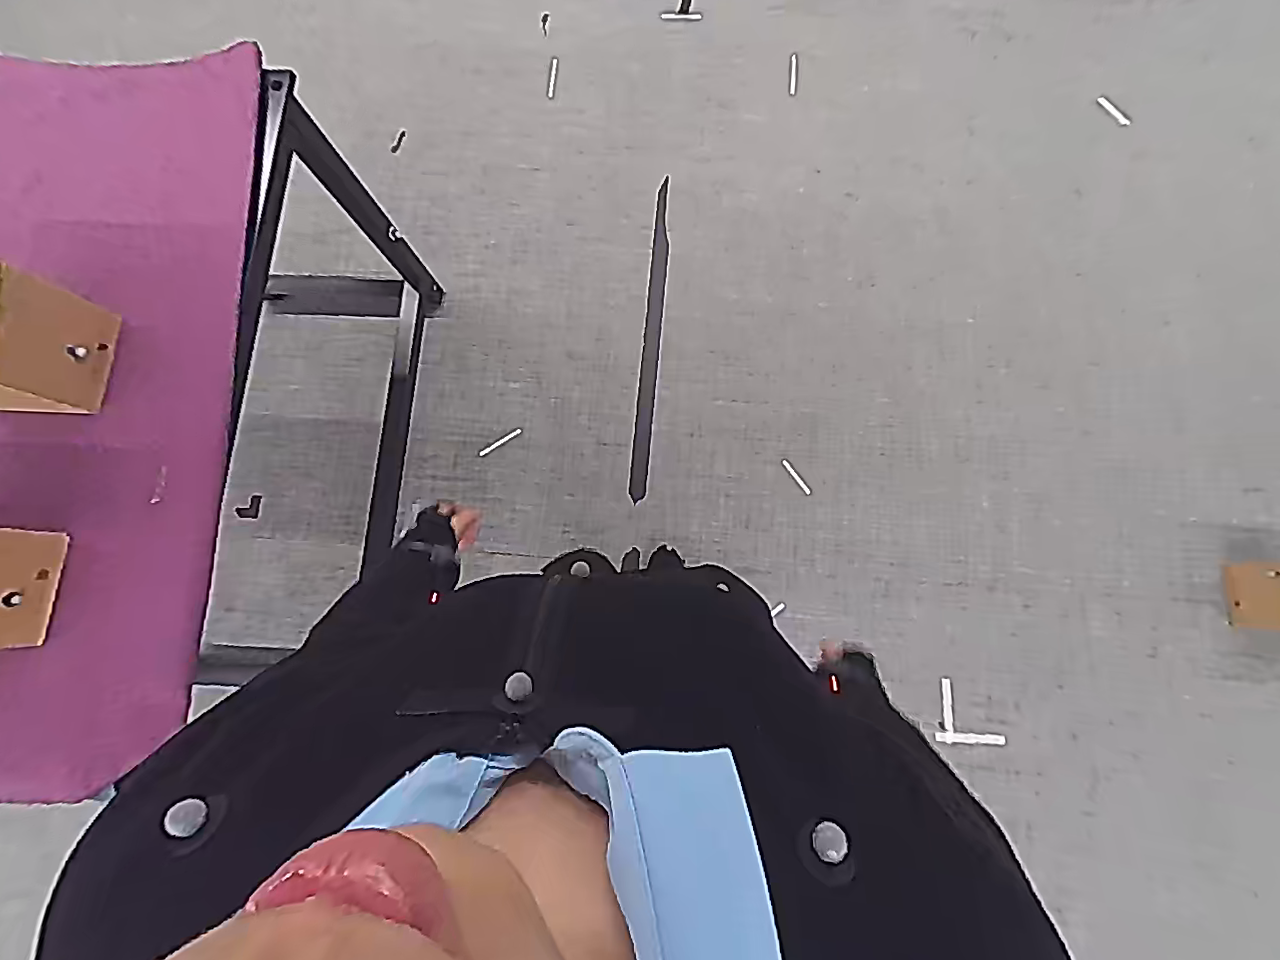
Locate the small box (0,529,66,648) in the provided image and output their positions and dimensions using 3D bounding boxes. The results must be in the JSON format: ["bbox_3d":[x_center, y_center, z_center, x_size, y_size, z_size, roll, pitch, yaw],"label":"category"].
[{"bbox_3d":[-0.958,0.145,0.727,0.179,0.176,0.168,2,78,1],"label":"small box"}]

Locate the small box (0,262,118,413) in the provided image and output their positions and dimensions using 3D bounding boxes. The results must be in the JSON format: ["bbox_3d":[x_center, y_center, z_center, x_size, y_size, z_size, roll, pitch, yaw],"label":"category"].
[{"bbox_3d":[-0.943,-0.202,0.792,0.179,0.176,0.168,3,80,2],"label":"small box"}]
